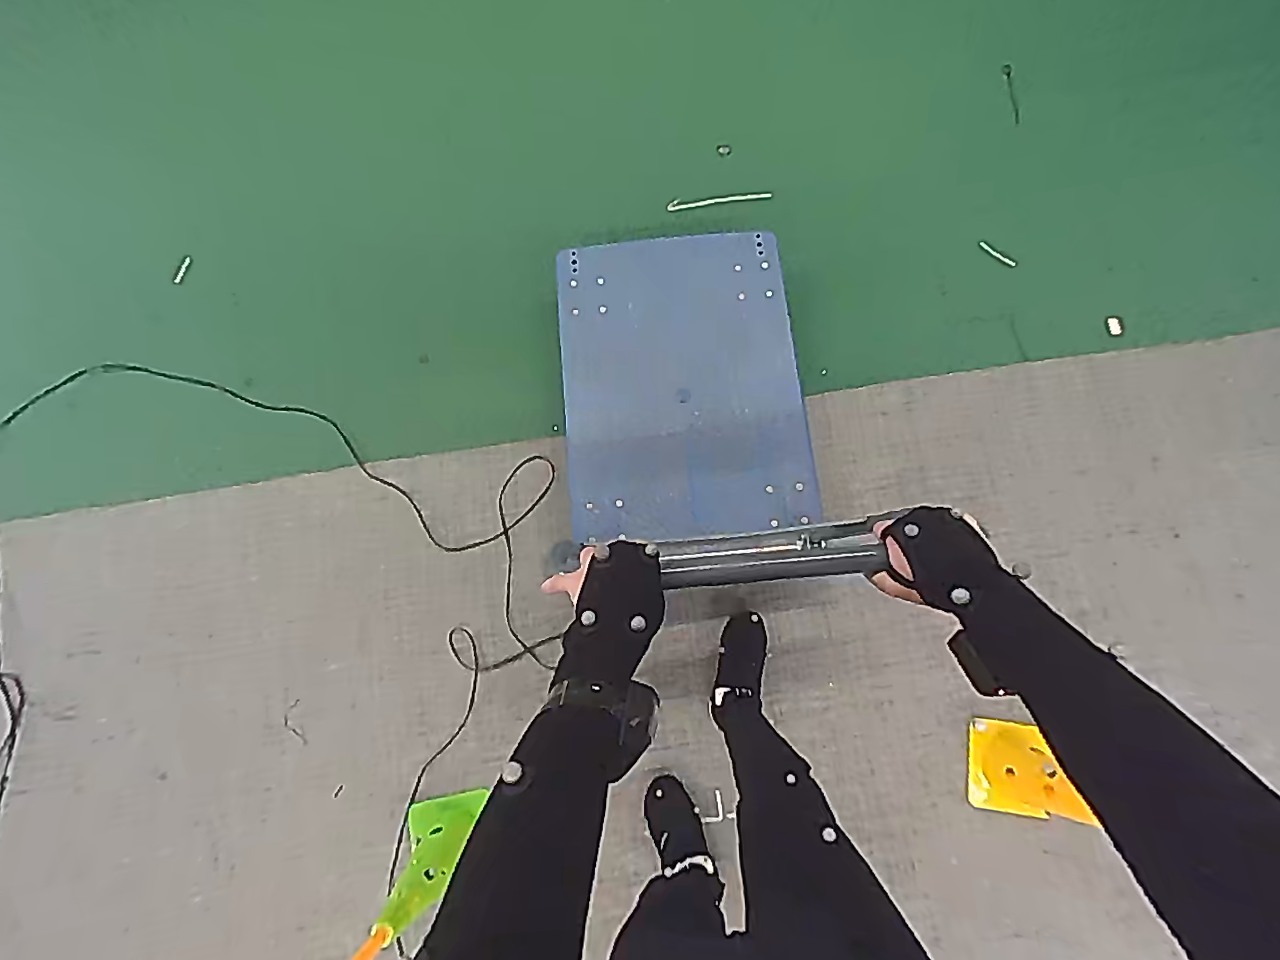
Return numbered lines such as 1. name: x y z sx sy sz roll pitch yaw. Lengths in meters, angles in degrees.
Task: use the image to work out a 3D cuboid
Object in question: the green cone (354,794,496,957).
1. green cone: -0.450 0.813 1.085 0.202 0.368 0.200 -13 77 0
